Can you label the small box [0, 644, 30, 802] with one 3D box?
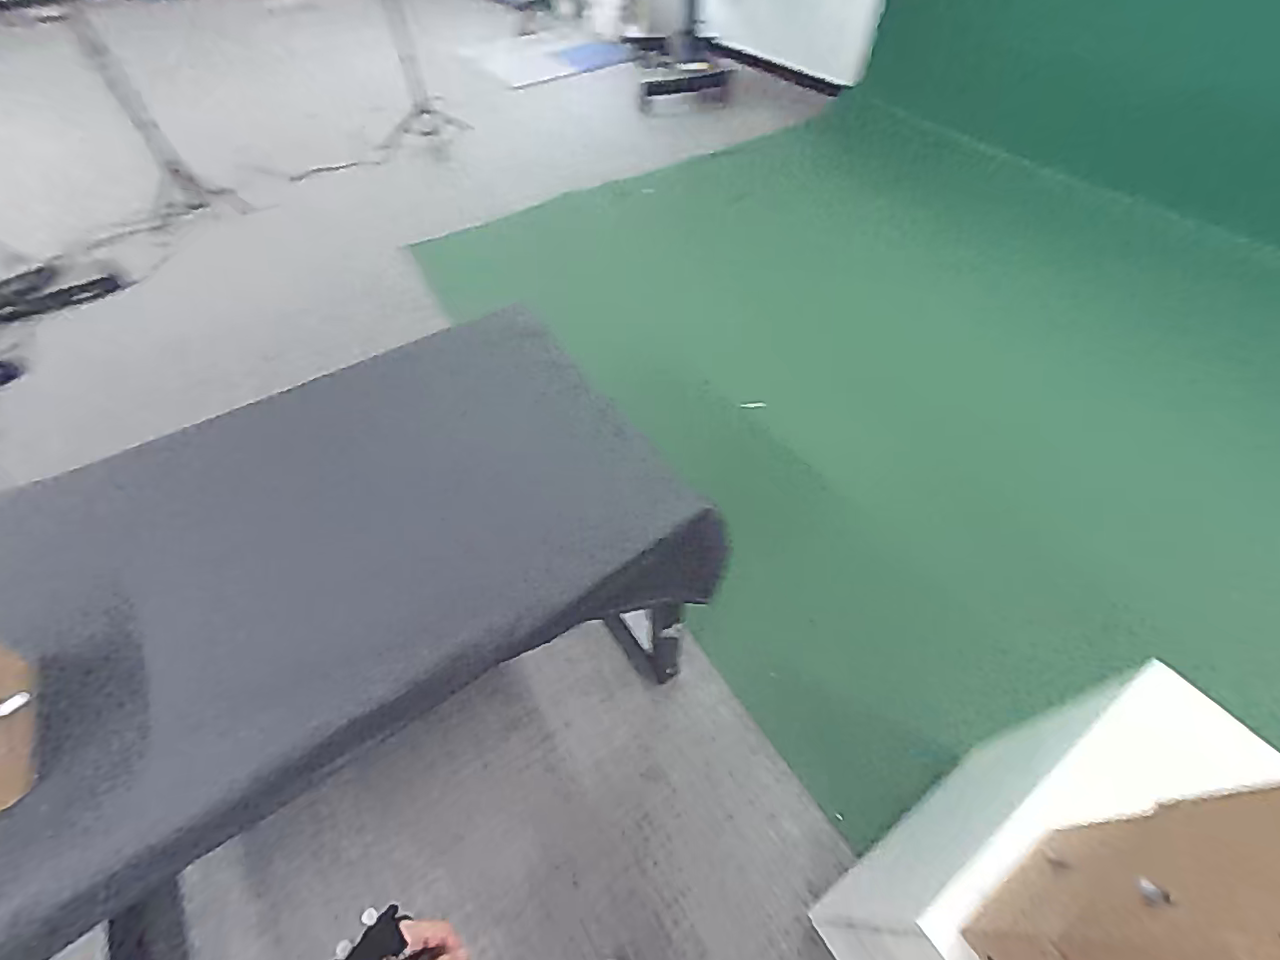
[{"bbox_3d":[-0.742,0.243,0.508,0.168,0.176,0.179,-29,57,-20],"label":"small box"}]
